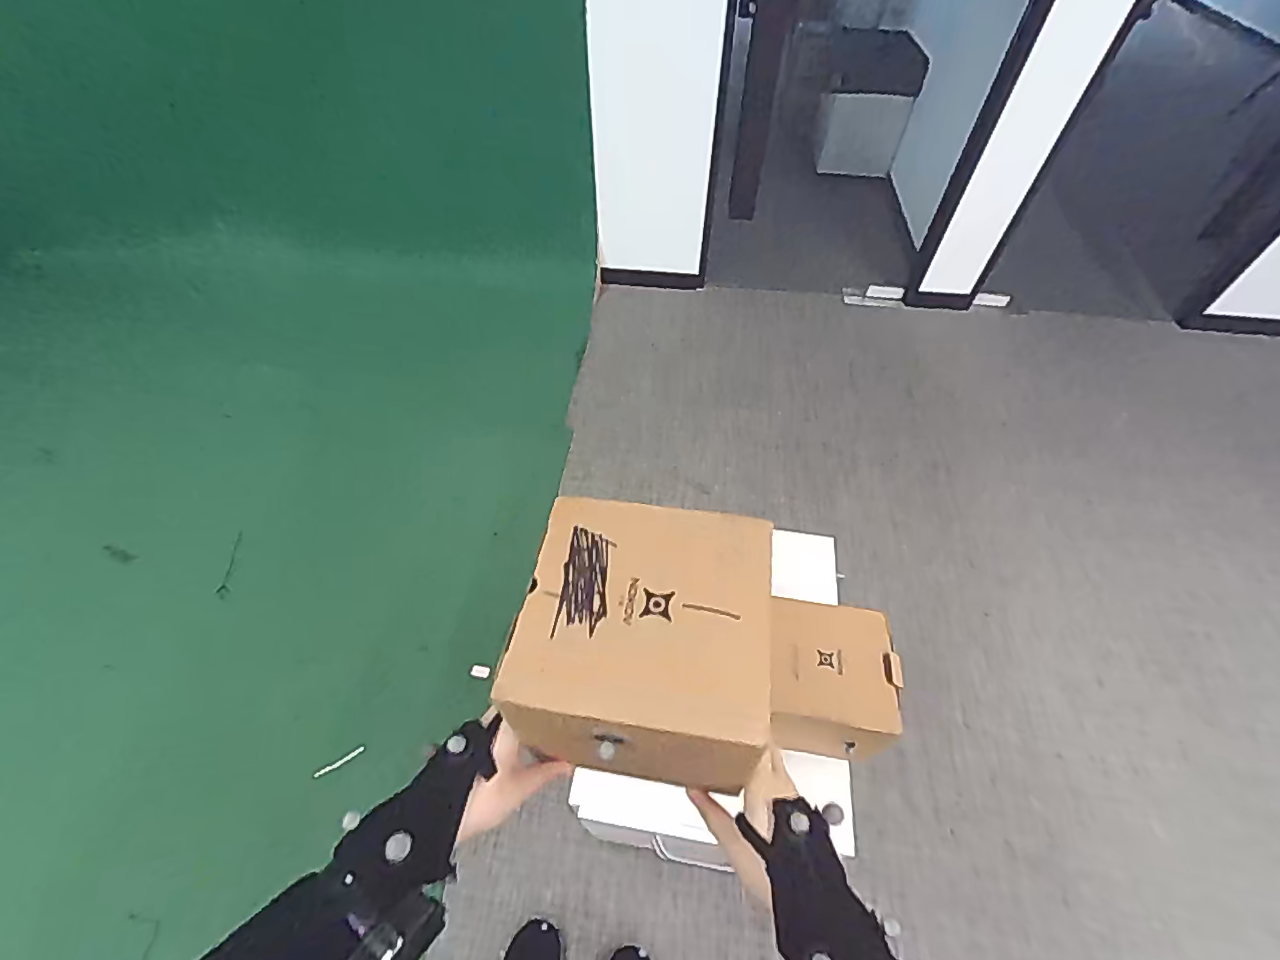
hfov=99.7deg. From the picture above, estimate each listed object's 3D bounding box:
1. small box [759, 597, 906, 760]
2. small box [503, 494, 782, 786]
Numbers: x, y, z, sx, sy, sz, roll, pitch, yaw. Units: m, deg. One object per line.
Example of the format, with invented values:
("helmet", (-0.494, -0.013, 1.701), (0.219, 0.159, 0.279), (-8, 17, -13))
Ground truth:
("small box", (0.257, 0.291, 0.782), (0.179, 0.176, 0.168), (7, 52, 7))
("small box", (0.013, 0.134, 0.444), (0.179, 0.176, 0.168), (7, 52, 7))
